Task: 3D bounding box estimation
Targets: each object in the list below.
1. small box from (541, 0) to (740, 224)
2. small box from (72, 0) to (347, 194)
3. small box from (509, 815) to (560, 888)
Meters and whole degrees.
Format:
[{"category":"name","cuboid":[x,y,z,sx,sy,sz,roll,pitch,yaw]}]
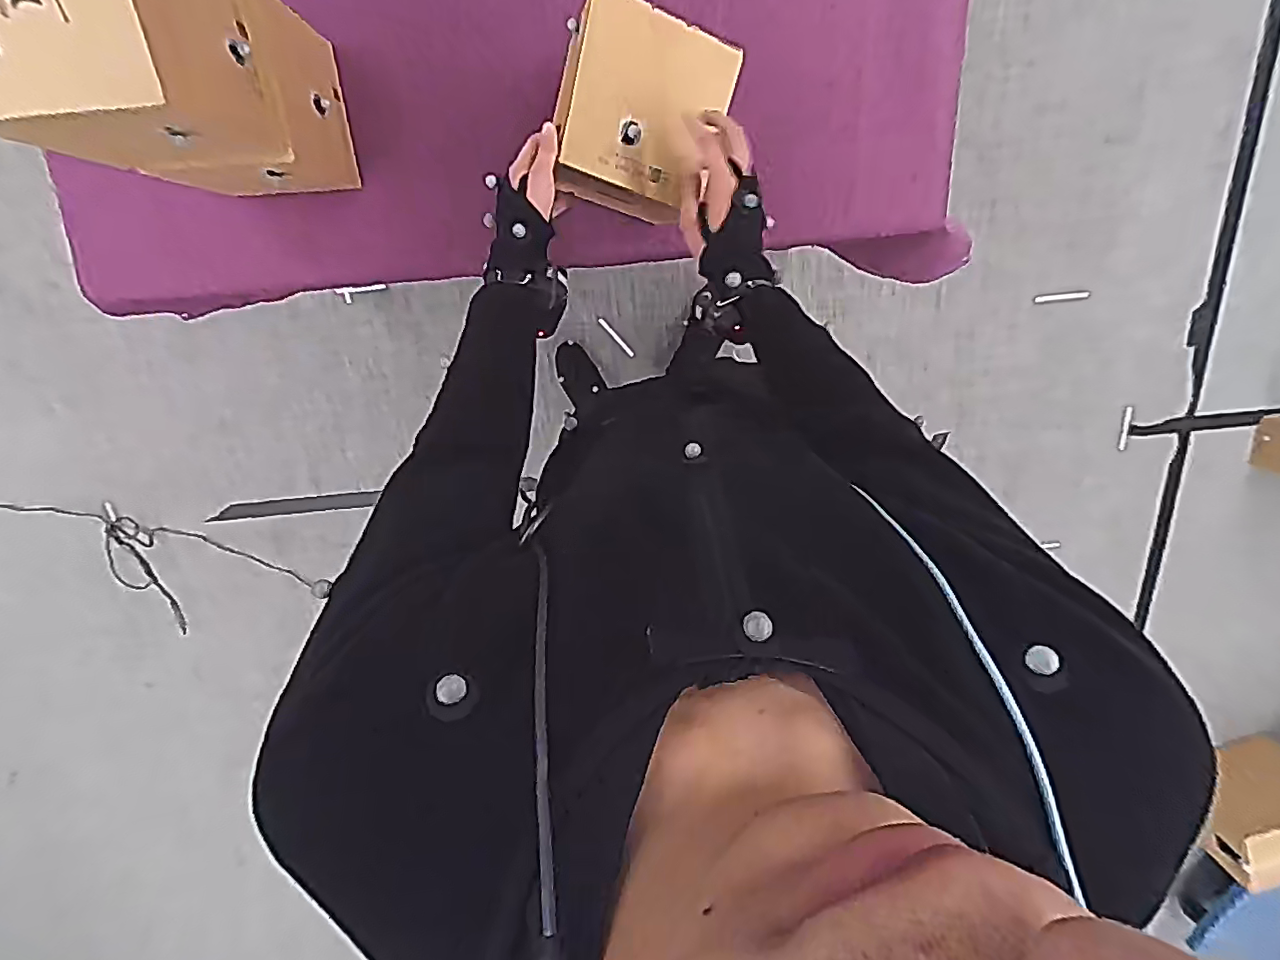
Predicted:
[{"category":"small box","cuboid":[-0.014,-0.415,0.636,0.168,0.179,0.176,11,108,-20]},{"category":"small box","cuboid":[-0.469,-0.439,0.629,0.179,0.176,0.168,-4,109,-1]},{"category":"small box","cuboid":[-0.400,1.418,2.078,0.168,0.176,0.179,-3,111,-1]}]
